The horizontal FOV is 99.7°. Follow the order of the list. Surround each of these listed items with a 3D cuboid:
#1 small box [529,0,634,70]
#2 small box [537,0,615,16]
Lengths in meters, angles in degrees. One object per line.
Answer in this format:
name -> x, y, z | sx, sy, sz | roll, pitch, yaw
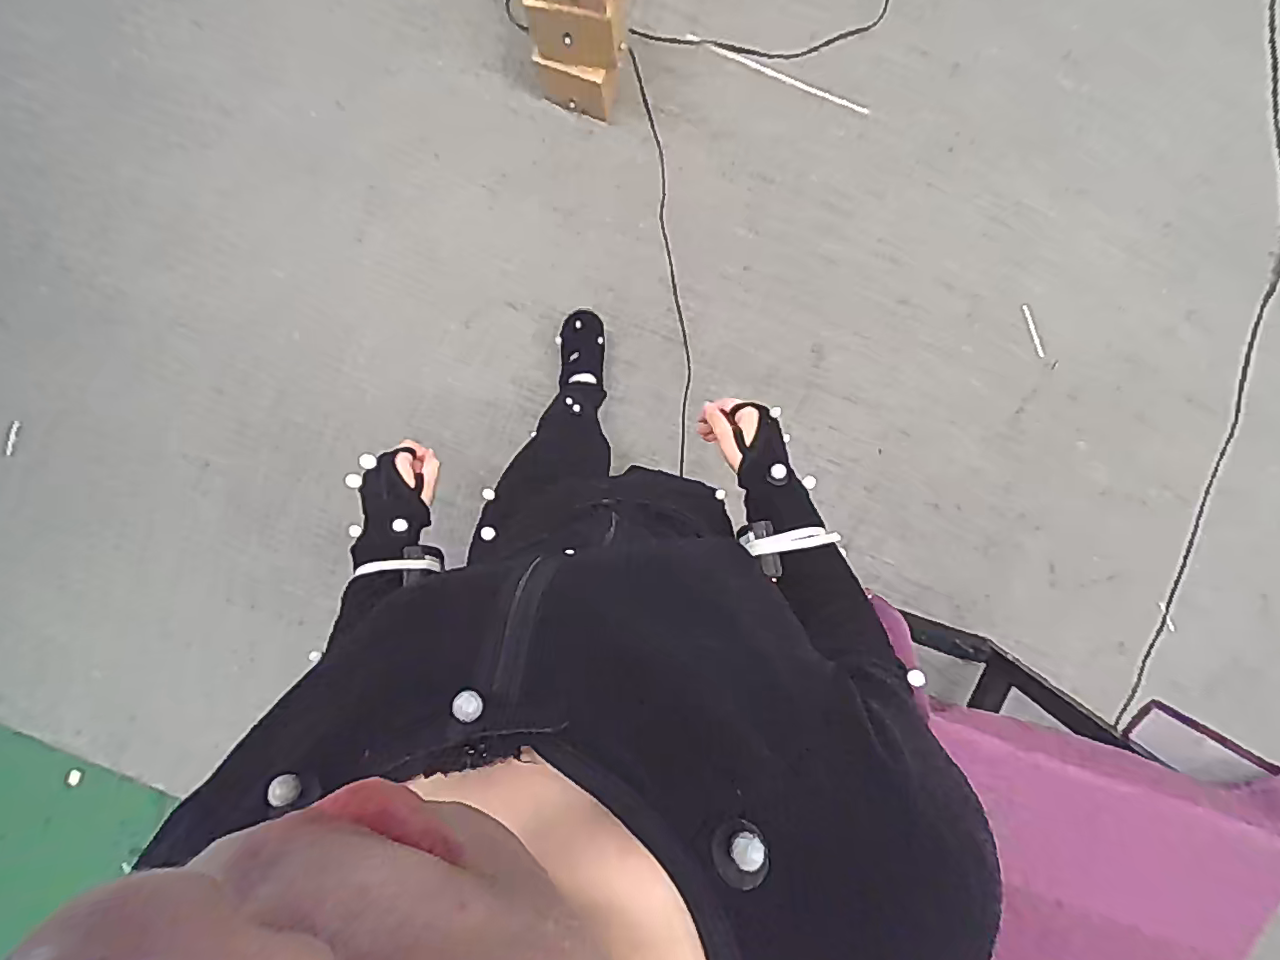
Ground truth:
small box -> -0.111, -0.982, 1.107 | 0.179, 0.176, 0.168 | 9, 98, 3
small box -> -0.117, -0.974, 0.943 | 0.168, 0.176, 0.179 | 12, 99, 1
